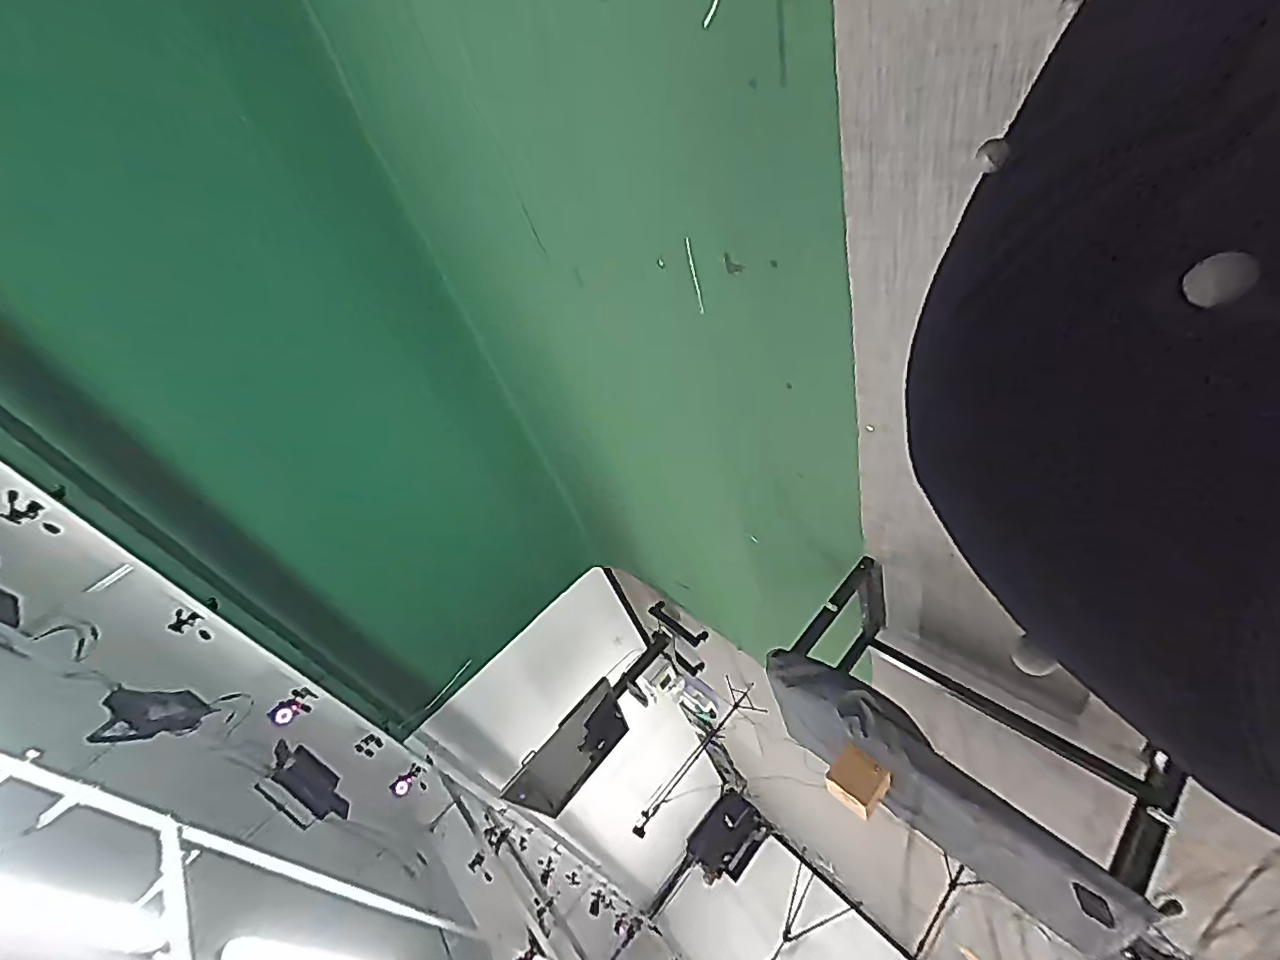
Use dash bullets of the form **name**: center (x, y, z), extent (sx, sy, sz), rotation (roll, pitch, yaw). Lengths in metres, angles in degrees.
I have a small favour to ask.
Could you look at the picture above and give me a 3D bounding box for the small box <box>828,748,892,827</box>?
- **small box**: center (0.822, 1.142, 2.017), extent (0.168, 0.176, 0.179), rotation (26, 150, 42)
